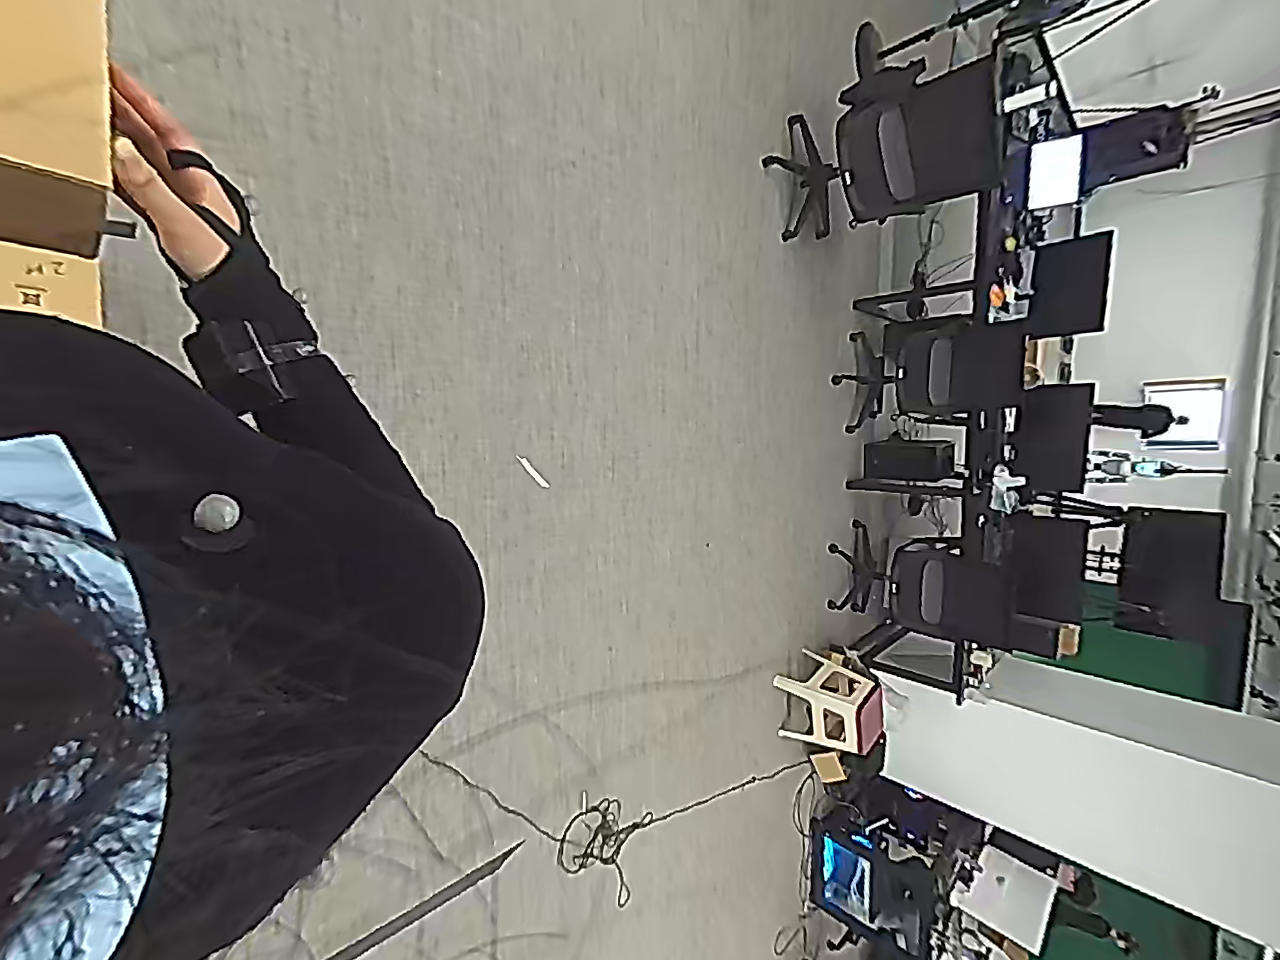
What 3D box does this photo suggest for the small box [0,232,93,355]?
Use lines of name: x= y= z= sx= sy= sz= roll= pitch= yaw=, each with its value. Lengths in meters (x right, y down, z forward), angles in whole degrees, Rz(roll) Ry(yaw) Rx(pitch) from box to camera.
small box: x=-1.081 y=-0.321 z=0.950 sx=0.168 sy=0.176 sz=0.179 roll=-2 pitch=94 yaw=-46
